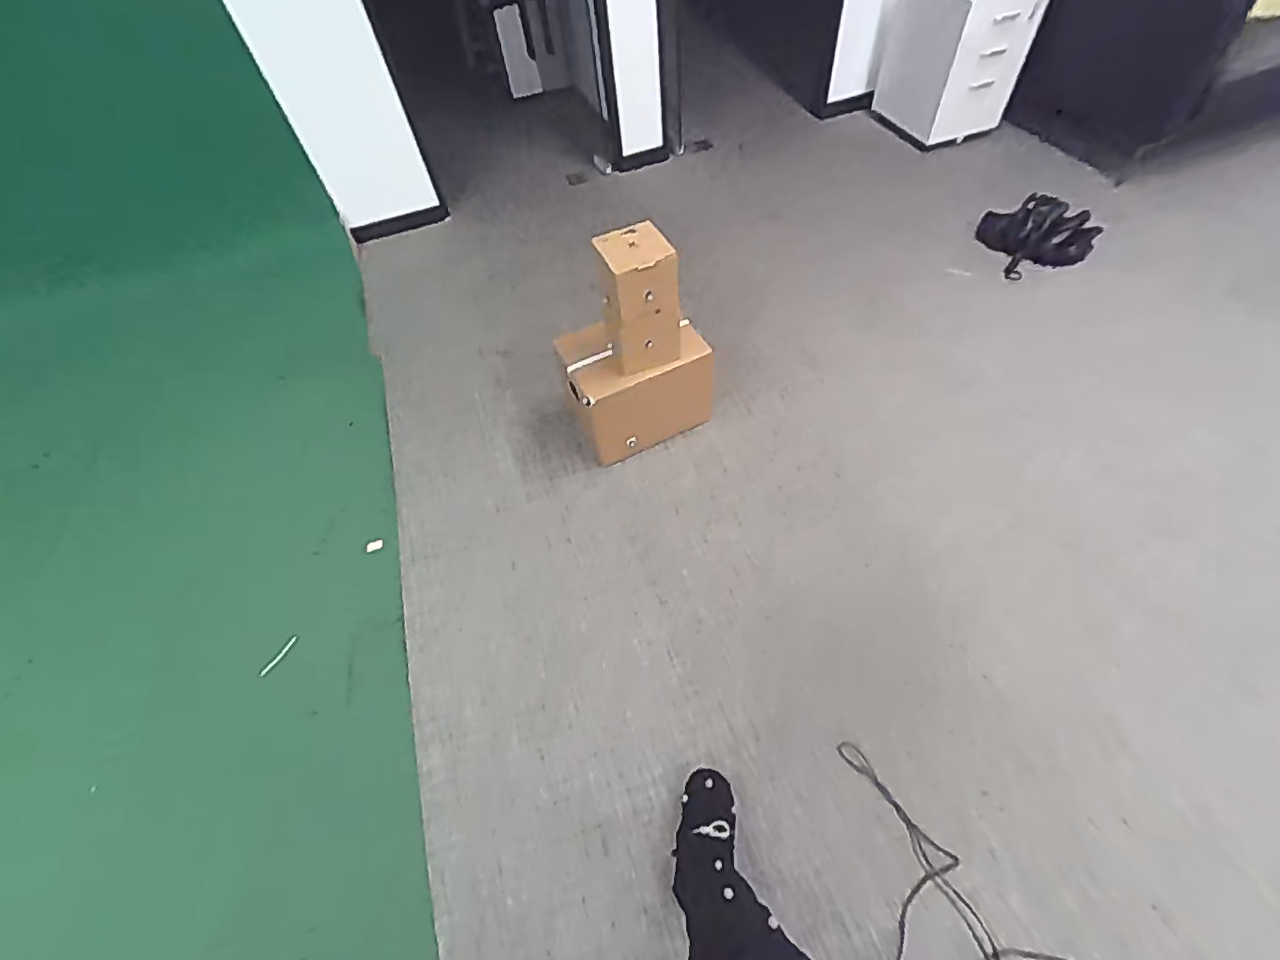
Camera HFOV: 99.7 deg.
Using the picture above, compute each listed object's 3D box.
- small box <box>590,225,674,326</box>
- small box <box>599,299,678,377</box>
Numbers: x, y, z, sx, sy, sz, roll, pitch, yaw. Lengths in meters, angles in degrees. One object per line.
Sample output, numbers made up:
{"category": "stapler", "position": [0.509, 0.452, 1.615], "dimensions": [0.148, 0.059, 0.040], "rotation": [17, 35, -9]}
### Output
{"category": "small box", "position": [-0.016, -0.525, 1.415], "dimensions": [0.168, 0.176, 0.179], "rotation": [-21, 56, -9]}
{"category": "small box", "position": [-0.001, -0.425, 1.543], "dimensions": [0.179, 0.176, 0.168], "rotation": [-20, 56, -8]}
